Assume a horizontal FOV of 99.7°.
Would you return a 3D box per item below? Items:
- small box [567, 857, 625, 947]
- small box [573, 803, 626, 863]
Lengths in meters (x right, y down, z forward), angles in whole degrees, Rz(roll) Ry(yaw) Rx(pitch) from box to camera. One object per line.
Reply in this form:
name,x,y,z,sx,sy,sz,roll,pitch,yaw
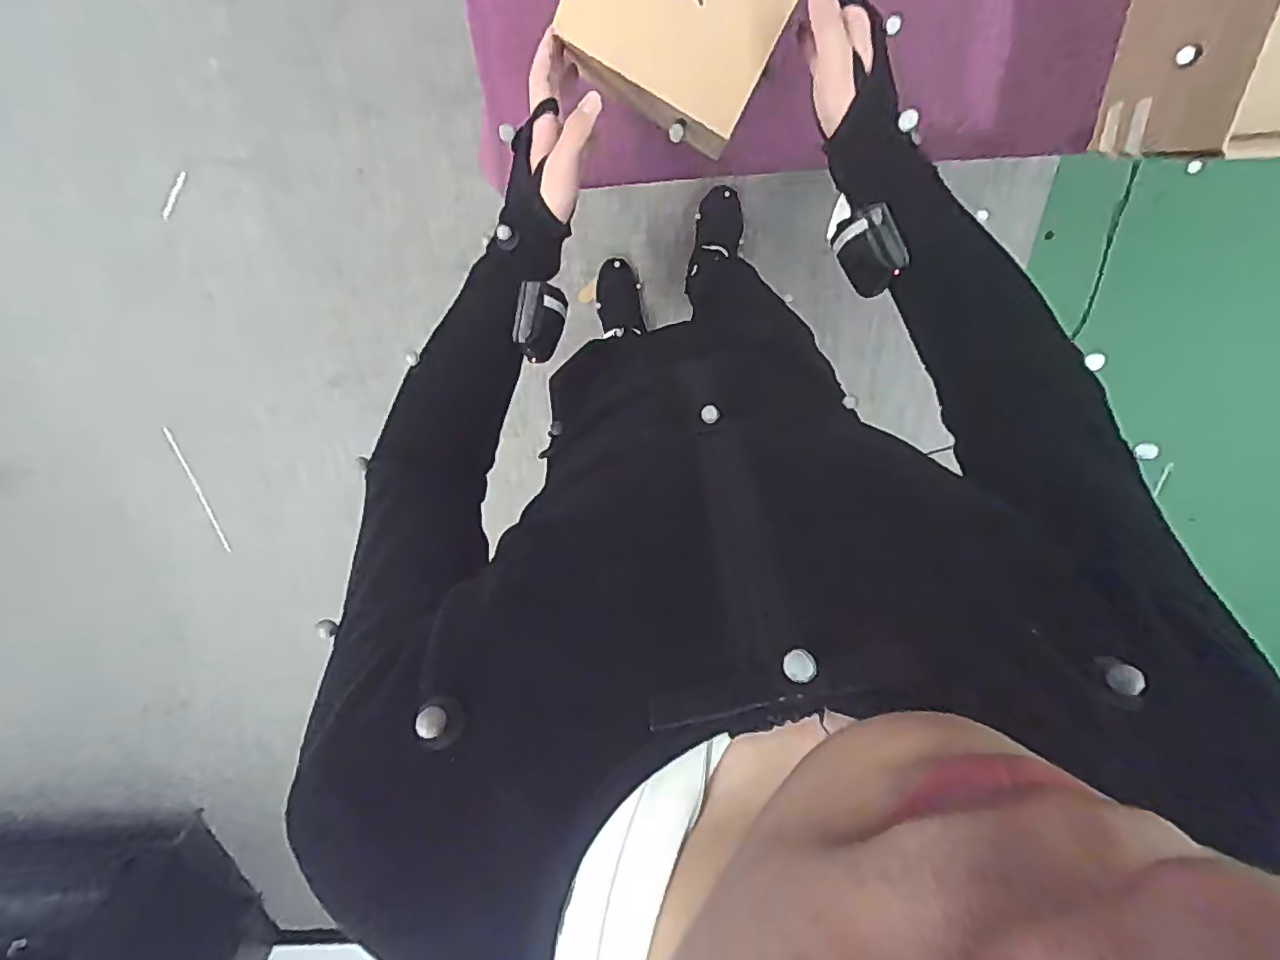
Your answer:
small box,-0.131,1.274,1.636,0.168,0.176,0.179,2,120,-1
small box,-0.135,1.191,1.776,0.168,0.176,0.179,3,119,-3
